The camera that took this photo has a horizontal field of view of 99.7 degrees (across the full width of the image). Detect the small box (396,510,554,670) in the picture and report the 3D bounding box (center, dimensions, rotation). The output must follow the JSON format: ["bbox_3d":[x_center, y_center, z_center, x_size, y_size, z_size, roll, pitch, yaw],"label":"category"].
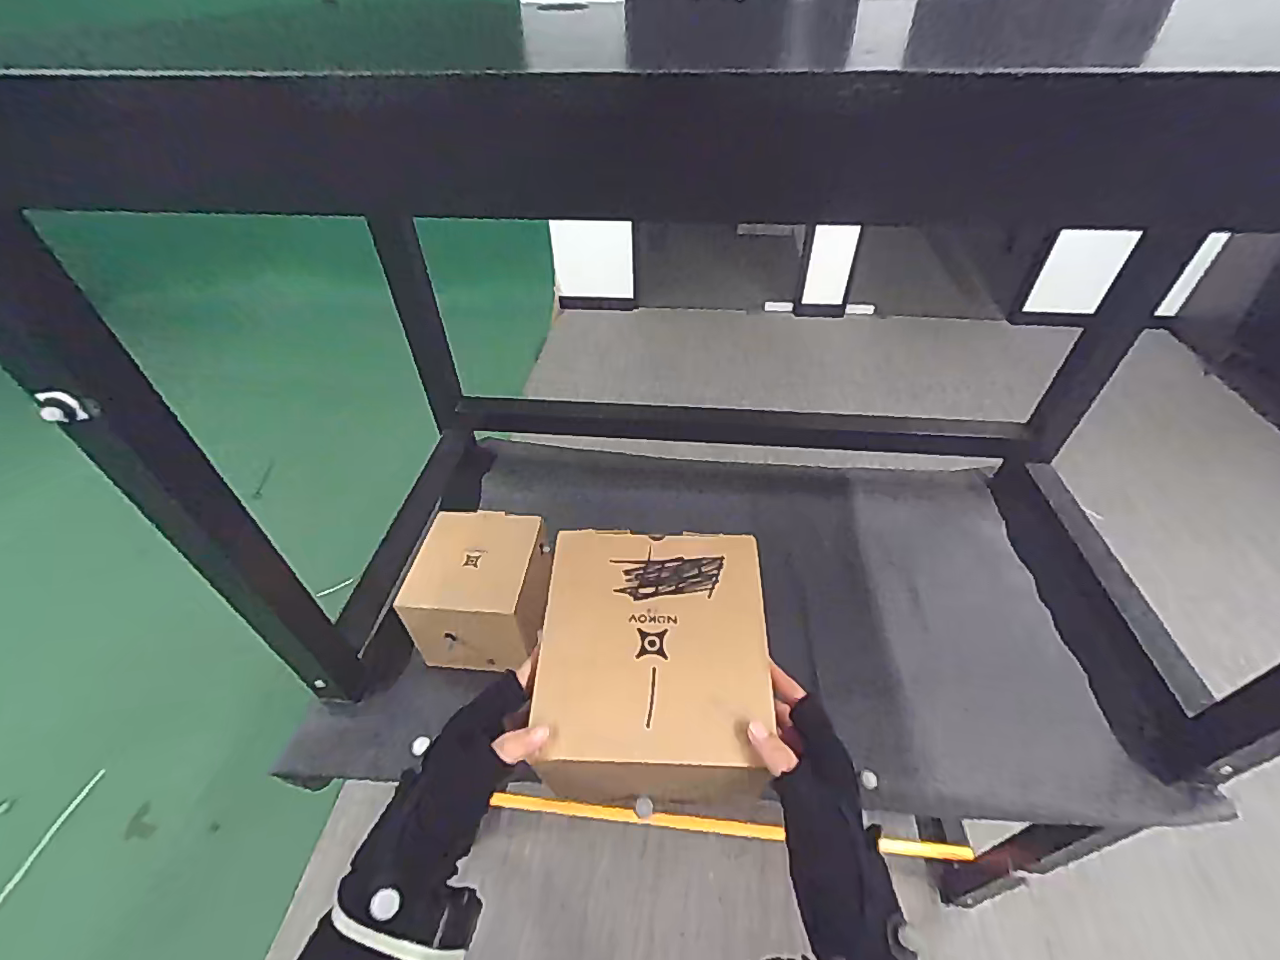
[{"bbox_3d":[-0.233,0.167,0.818,0.168,0.176,0.179,2,43,4],"label":"small box"}]
